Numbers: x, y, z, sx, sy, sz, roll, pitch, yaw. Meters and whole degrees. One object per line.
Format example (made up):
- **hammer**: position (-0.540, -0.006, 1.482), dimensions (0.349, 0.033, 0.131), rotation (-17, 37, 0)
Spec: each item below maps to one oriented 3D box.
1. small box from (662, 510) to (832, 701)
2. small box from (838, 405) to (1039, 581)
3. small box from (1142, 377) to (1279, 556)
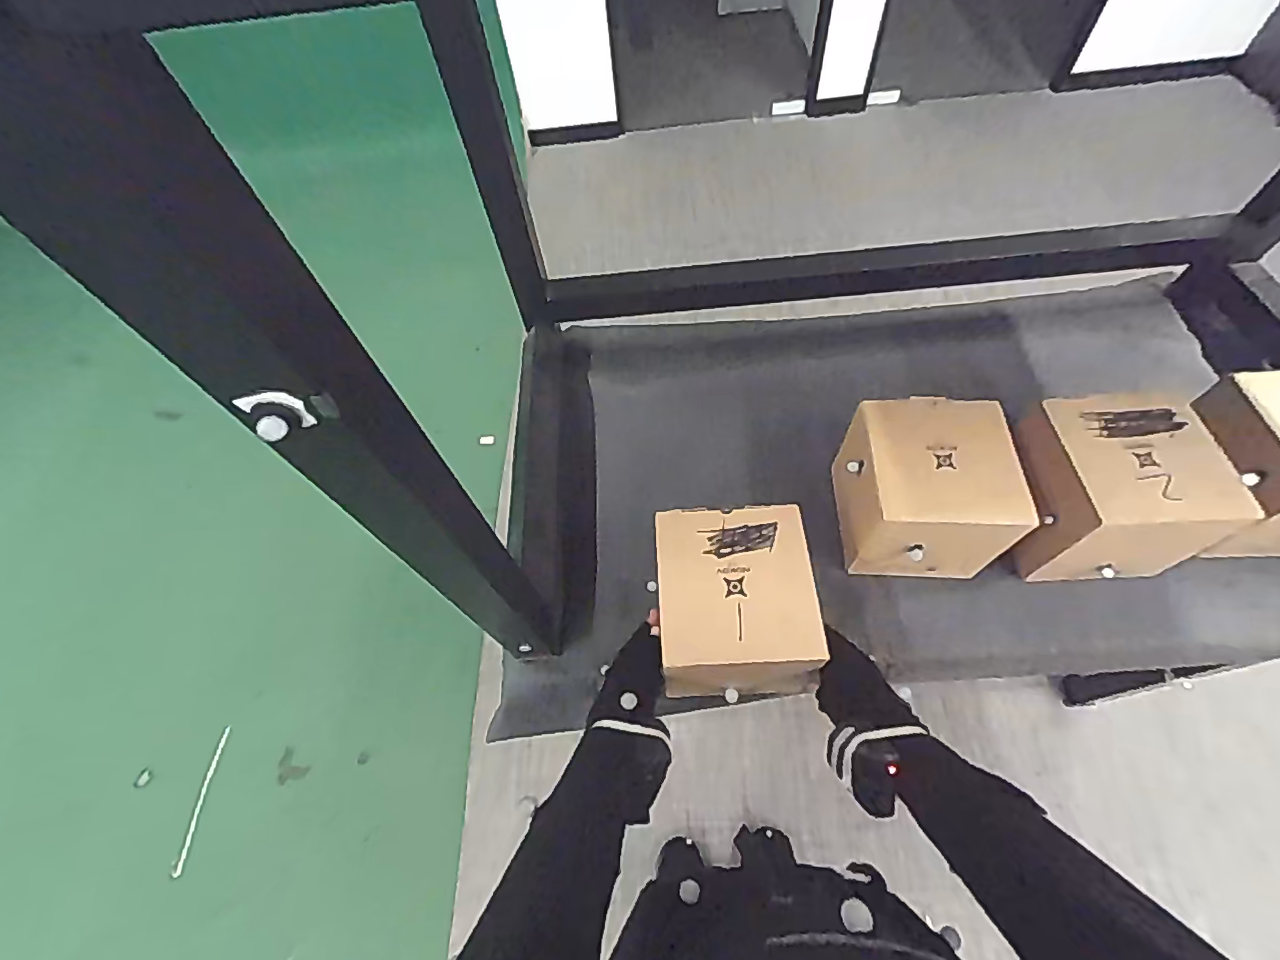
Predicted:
- **small box**: position (0.111, 0.154, 0.643), dimensions (0.168, 0.176, 0.179), rotation (-4, 58, 3)
- **small box**: position (0.366, 0.022, 0.704), dimensions (0.168, 0.176, 0.179), rotation (1, 58, 6)
- **small box**: position (0.805, -0.010, 0.677), dimensions (0.168, 0.176, 0.179), rotation (-2, 58, 4)
